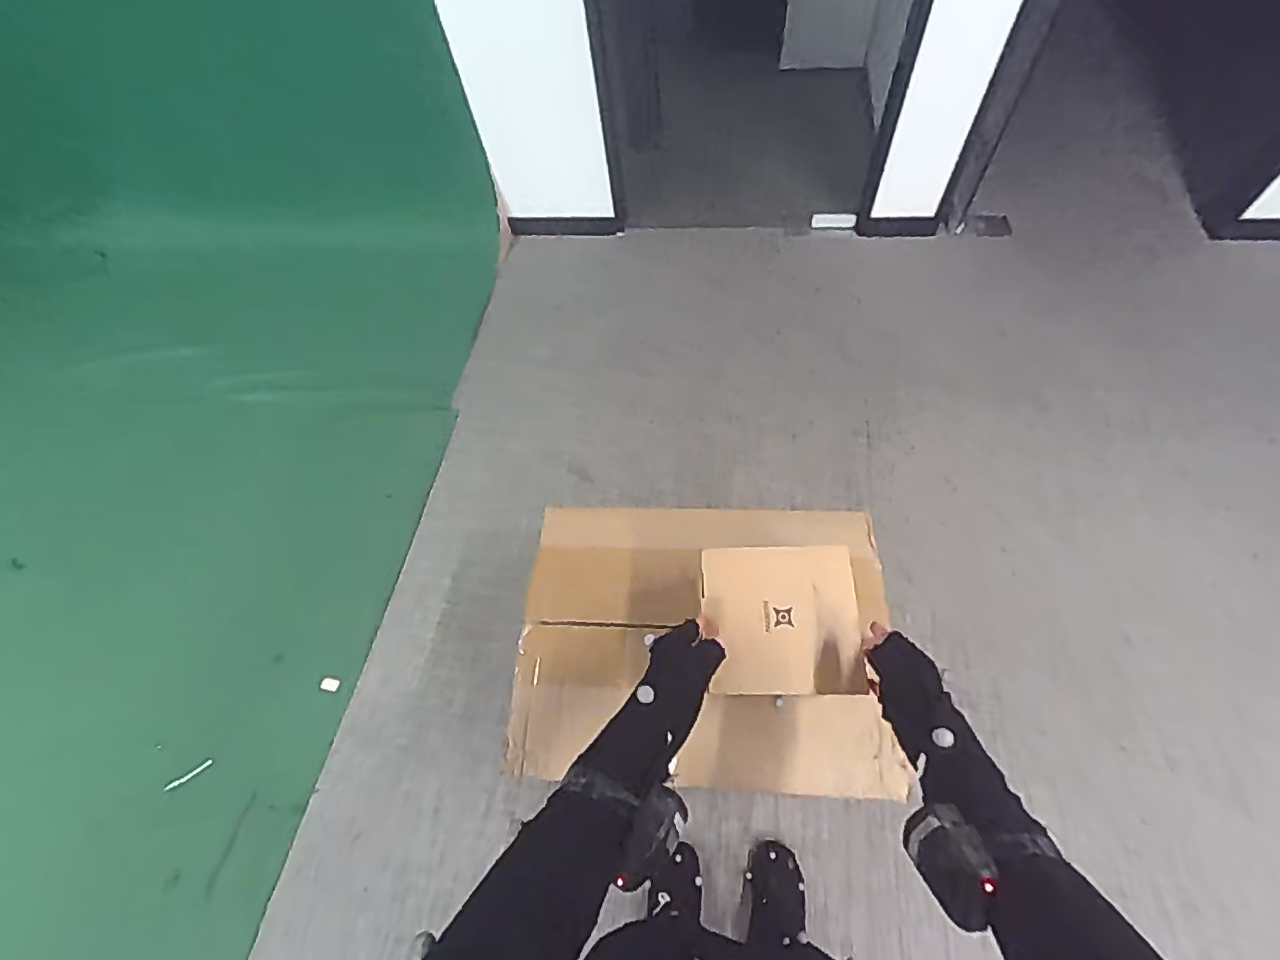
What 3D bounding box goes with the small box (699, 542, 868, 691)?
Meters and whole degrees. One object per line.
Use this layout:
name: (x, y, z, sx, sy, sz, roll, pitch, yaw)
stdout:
small box: (0.167, 0.181, 0.693, 0.179, 0.176, 0.168, -2, 69, 3)
